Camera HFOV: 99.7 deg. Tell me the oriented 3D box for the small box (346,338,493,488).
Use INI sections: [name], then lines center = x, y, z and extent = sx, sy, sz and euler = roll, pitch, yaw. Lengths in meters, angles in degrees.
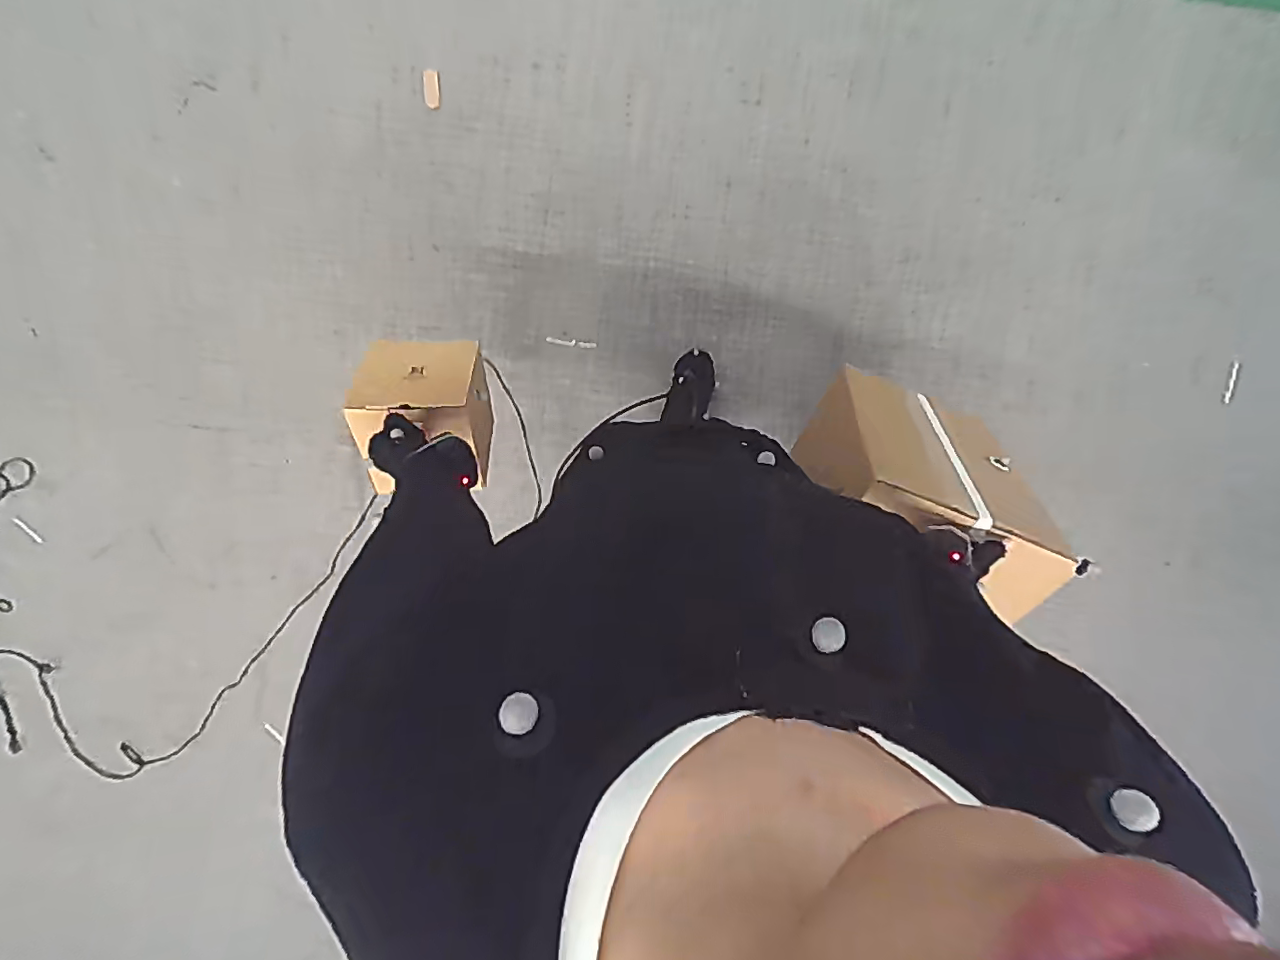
[small box]
center = -0.333, -0.108, 0.860
extent = 0.168, 0.179, 0.176
euler = -4, 136, -5
